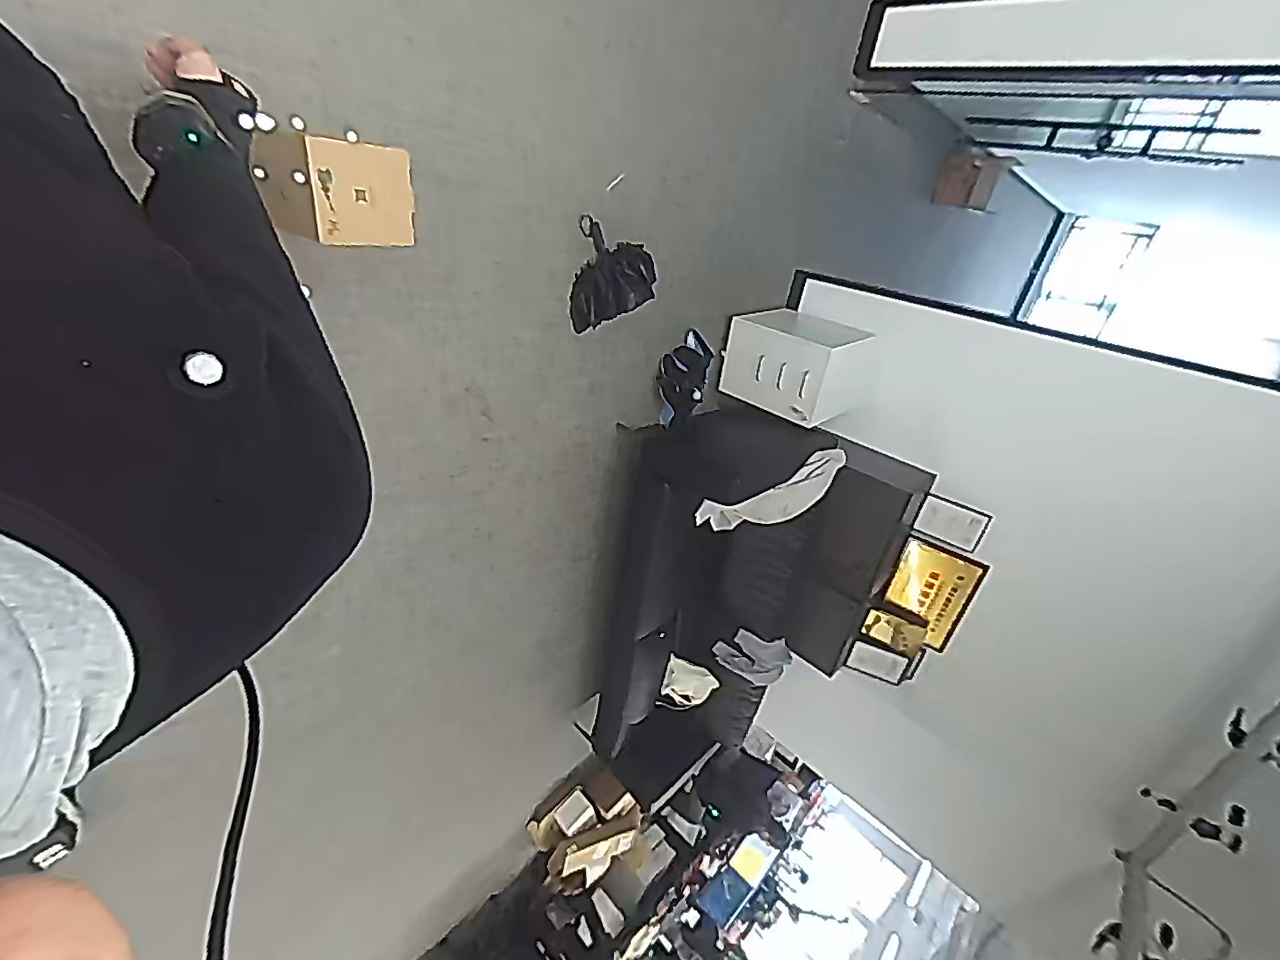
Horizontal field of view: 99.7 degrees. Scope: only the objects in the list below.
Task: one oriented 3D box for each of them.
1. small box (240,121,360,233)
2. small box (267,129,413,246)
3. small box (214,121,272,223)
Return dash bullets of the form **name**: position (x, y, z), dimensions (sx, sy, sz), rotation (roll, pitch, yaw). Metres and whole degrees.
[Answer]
- **small box**: position (-0.668, -0.605, 1.088), dimensions (0.168, 0.176, 0.179), rotation (-25, 133, -42)
- **small box**: position (-0.549, -0.538, 1.000), dimensions (0.179, 0.176, 0.168), rotation (-24, 133, -44)
- **small box**: position (-0.790, -0.668, 1.180), dimensions (0.168, 0.176, 0.179), rotation (-25, 132, -42)
